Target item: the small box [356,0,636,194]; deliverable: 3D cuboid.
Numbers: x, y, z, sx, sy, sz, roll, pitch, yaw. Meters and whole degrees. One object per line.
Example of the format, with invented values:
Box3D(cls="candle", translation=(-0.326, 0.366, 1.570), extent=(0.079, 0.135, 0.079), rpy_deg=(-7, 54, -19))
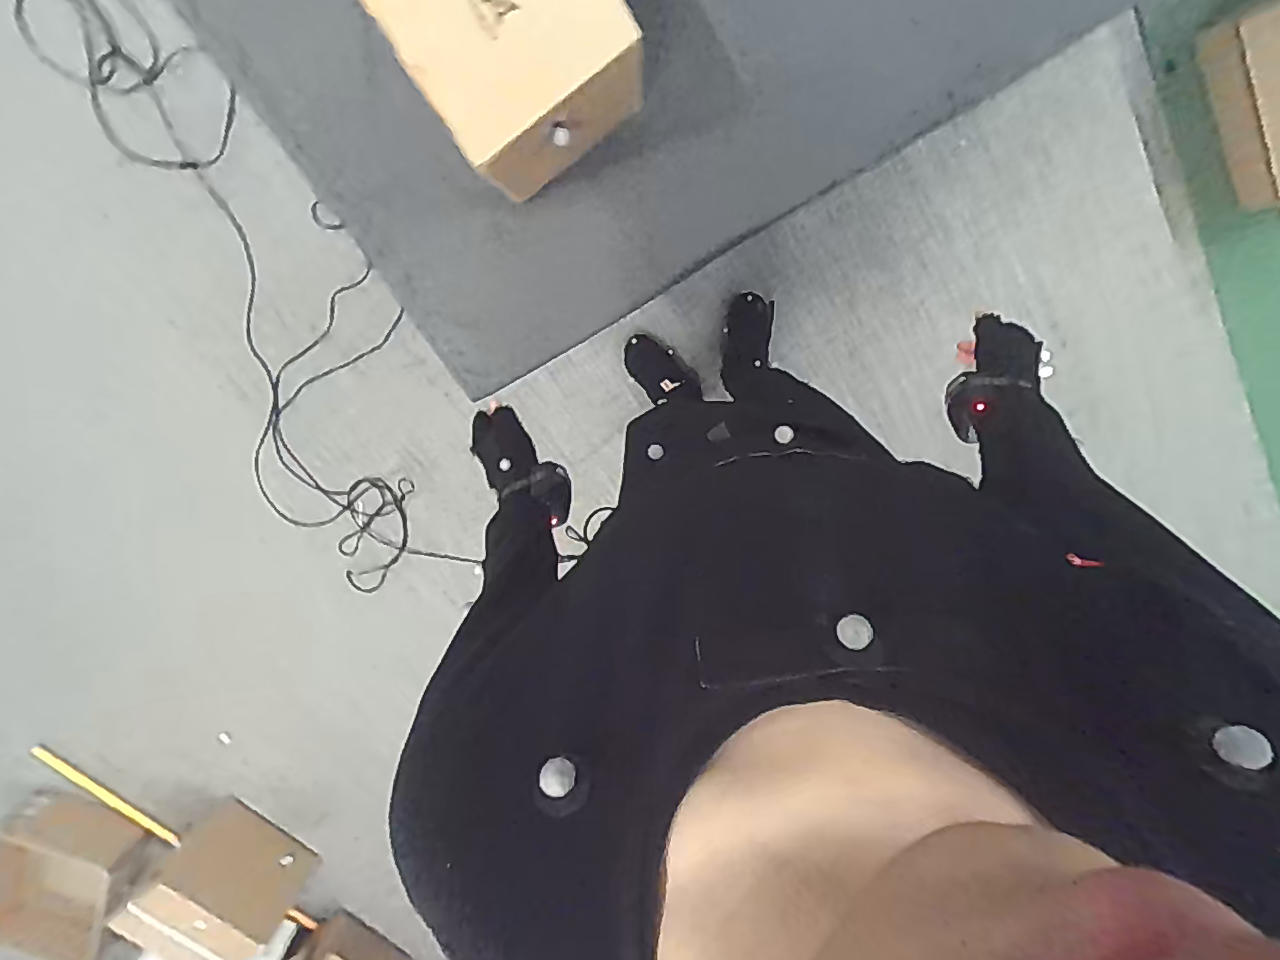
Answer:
Box3D(cls="small box", translation=(-0.119, -0.405, 0.508), extent=(0.179, 0.176, 0.168), rpy_deg=(-32, 105, 12))
